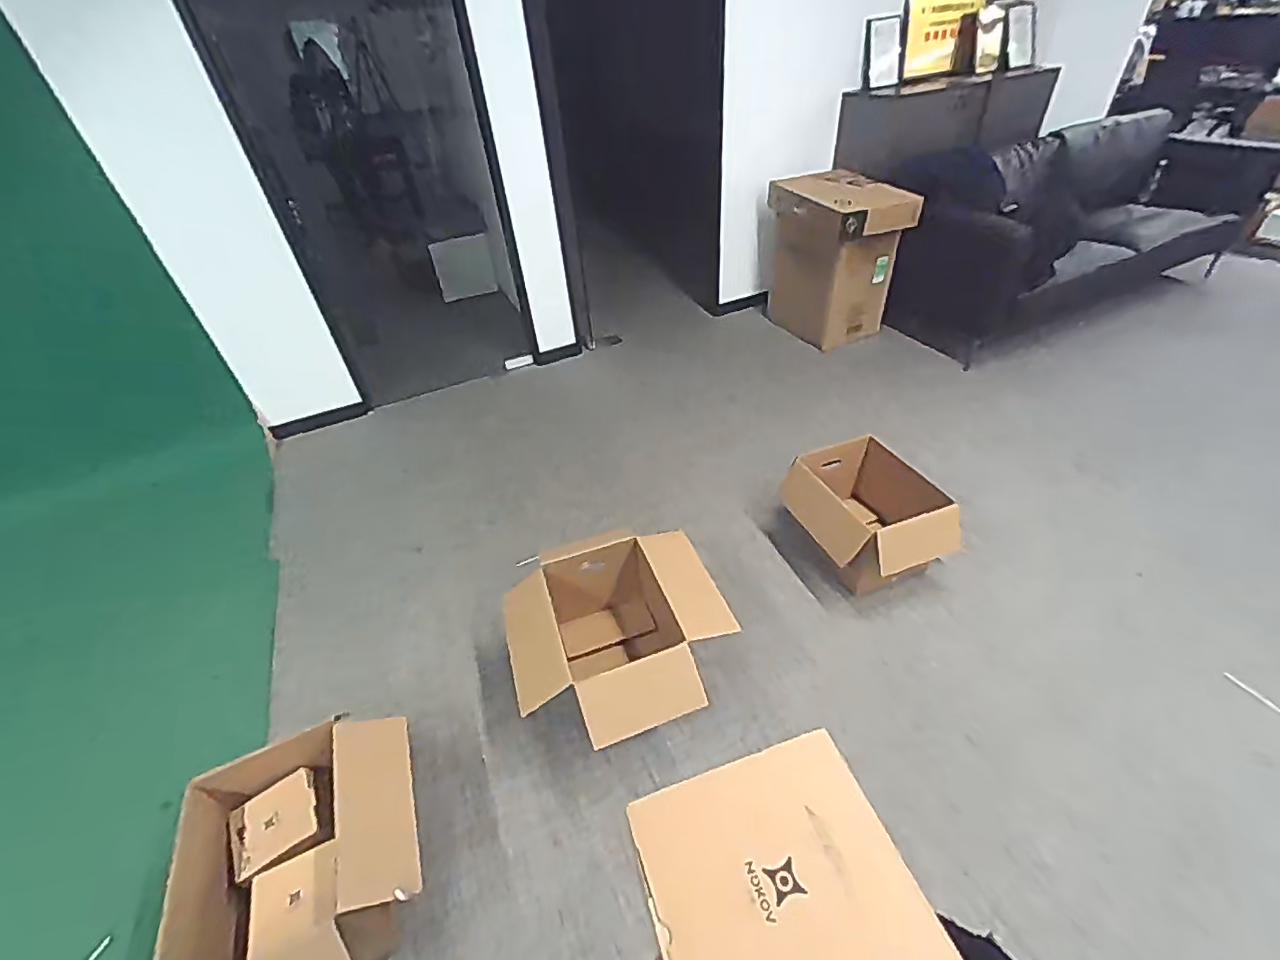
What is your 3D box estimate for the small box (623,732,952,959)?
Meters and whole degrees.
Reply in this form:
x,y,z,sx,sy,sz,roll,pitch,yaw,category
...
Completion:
x,y,z,sx,sy,sz,roll,pitch,yaw,category
0.097,0.338,0.424,0.179,0.176,0.168,-14,43,-11,small box
